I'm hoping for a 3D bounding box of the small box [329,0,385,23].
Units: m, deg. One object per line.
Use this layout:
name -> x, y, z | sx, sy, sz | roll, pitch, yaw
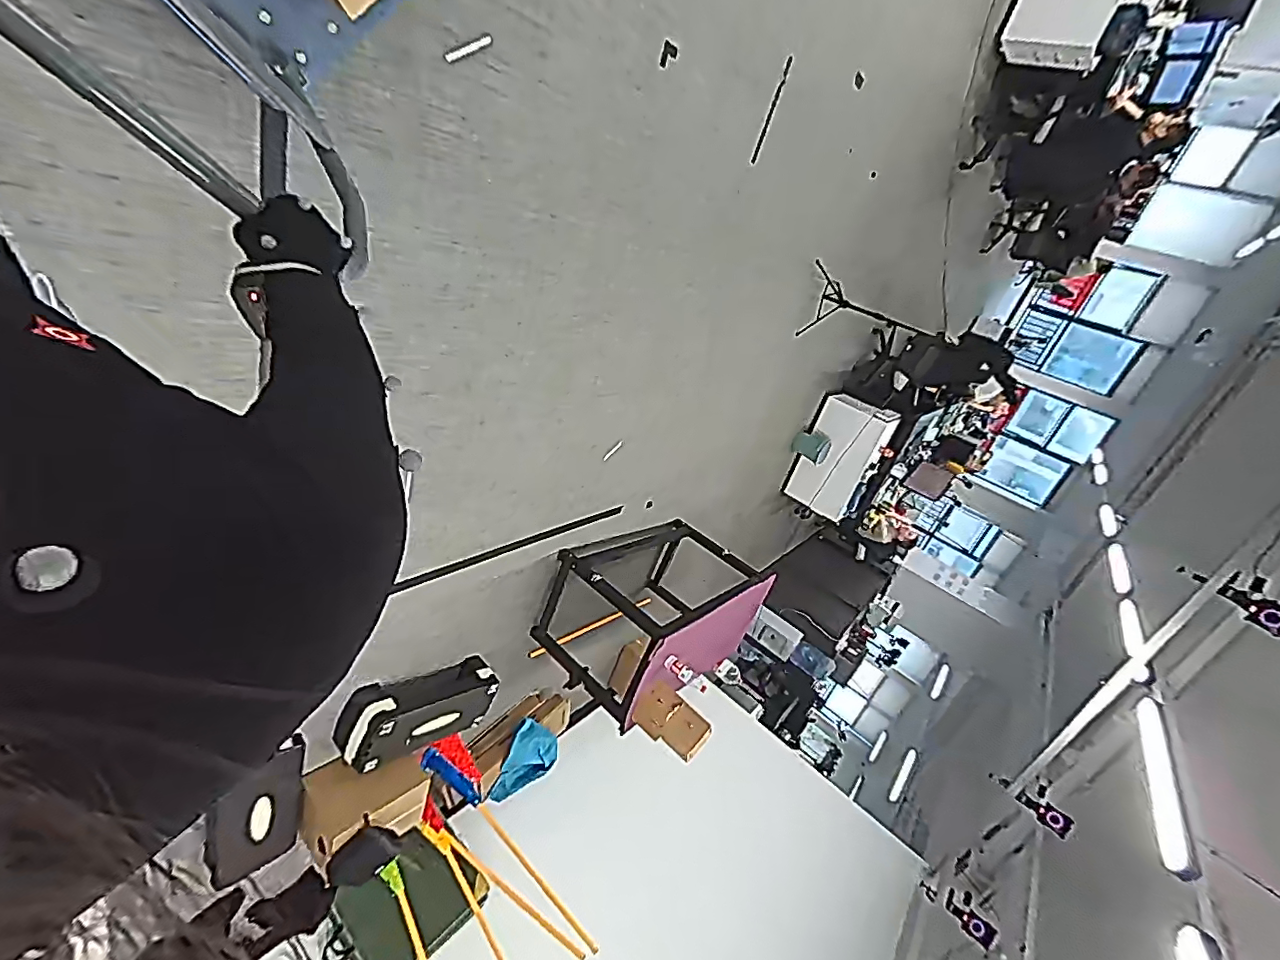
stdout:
small box -> -0.471, -0.870, 0.836 | 0.168, 0.176, 0.179 | -38, 151, 0
